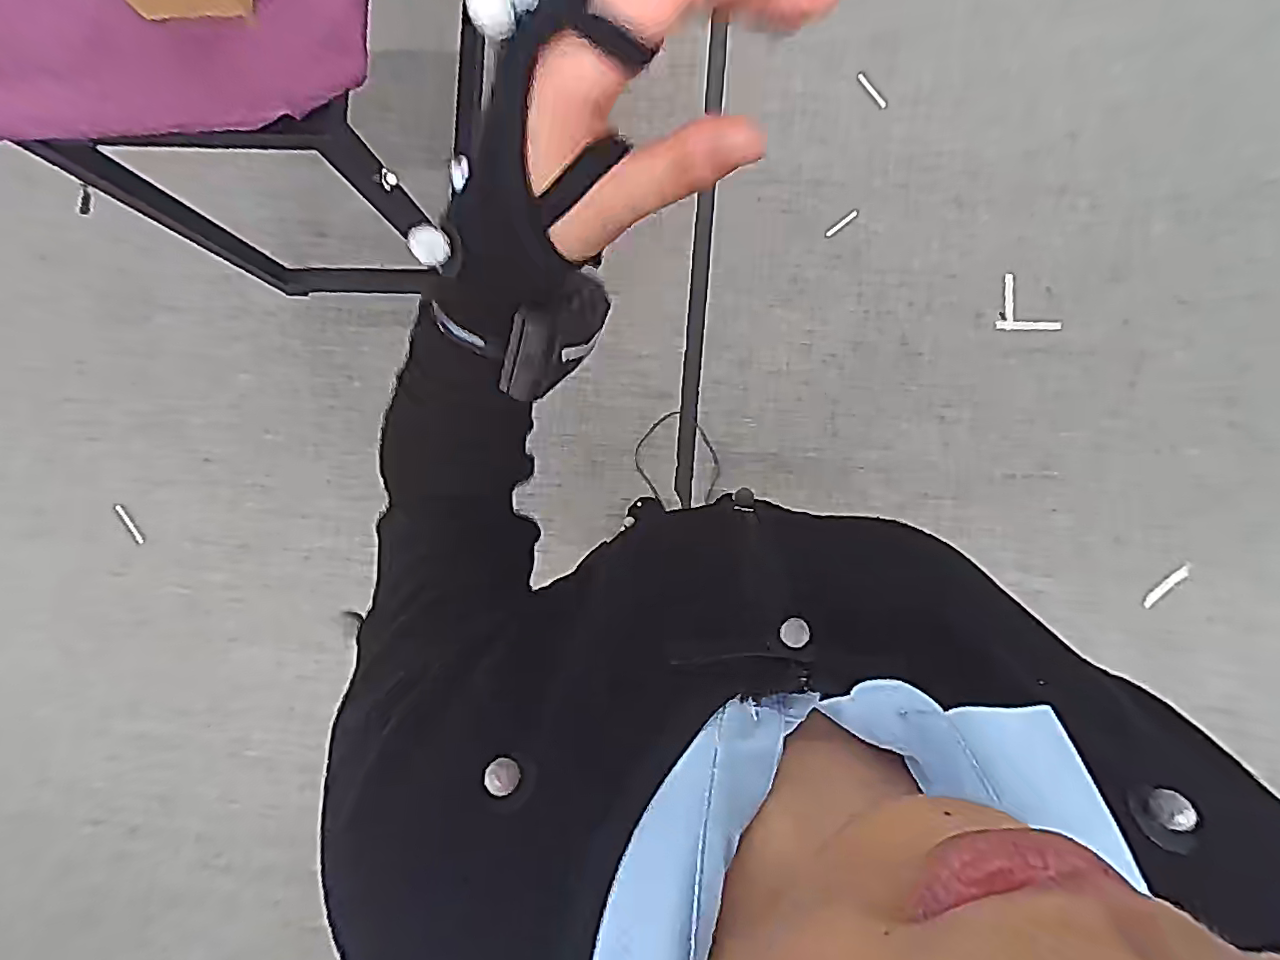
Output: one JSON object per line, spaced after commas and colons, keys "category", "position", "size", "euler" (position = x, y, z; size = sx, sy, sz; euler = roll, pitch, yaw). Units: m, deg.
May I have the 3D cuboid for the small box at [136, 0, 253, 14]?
{"category": "small box", "position": [-0.687, -0.806, 0.763], "size": [0.179, 0.176, 0.168], "euler": [1, 87, 2]}
